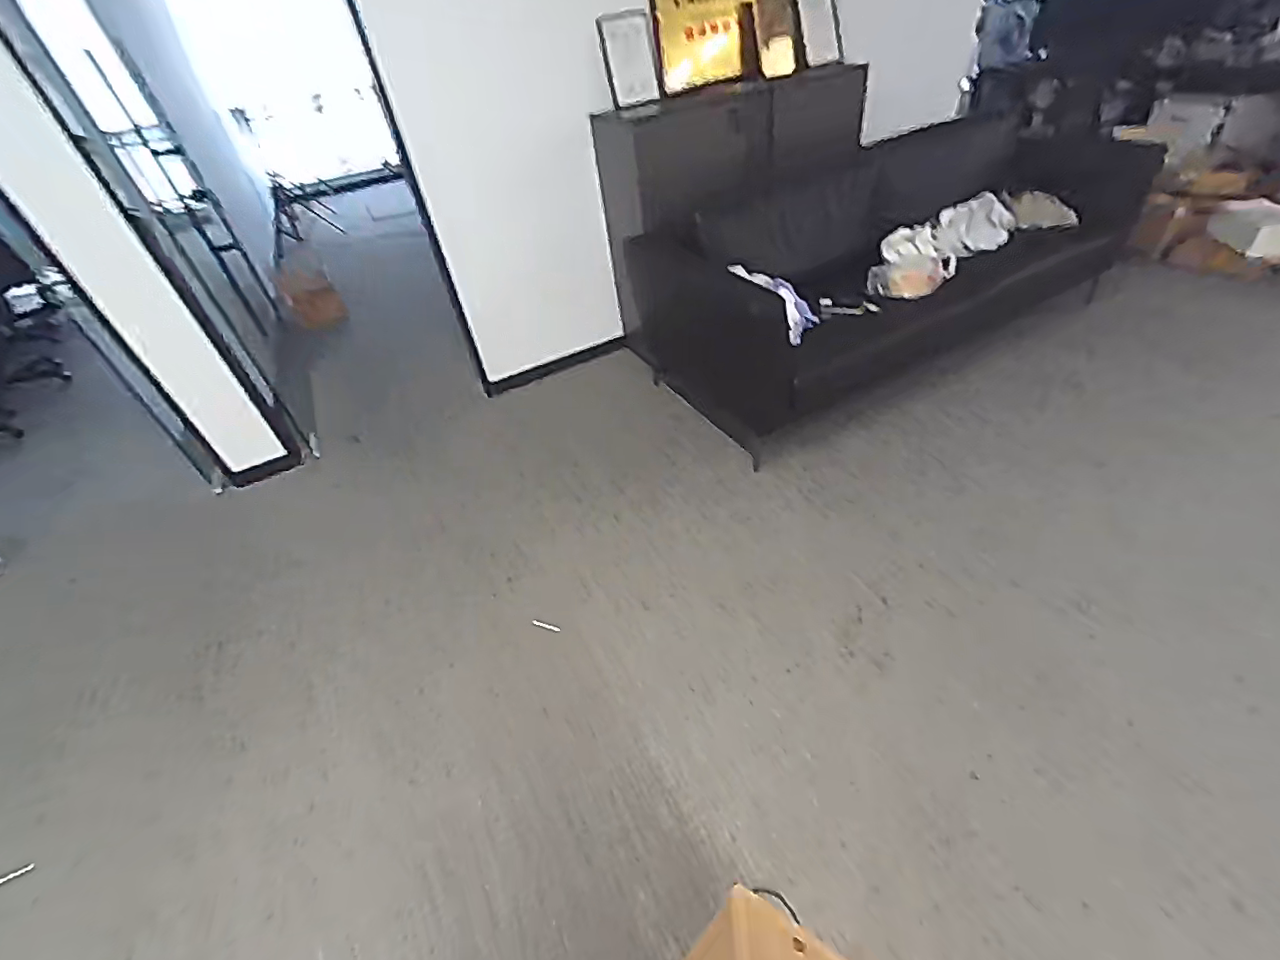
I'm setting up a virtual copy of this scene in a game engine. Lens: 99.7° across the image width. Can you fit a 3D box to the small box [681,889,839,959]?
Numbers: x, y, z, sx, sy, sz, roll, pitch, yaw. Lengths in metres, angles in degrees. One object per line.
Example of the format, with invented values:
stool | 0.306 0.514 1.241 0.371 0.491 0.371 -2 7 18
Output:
small box | 0.099 0.476 0.410 0.168 0.176 0.179 31 93 6
